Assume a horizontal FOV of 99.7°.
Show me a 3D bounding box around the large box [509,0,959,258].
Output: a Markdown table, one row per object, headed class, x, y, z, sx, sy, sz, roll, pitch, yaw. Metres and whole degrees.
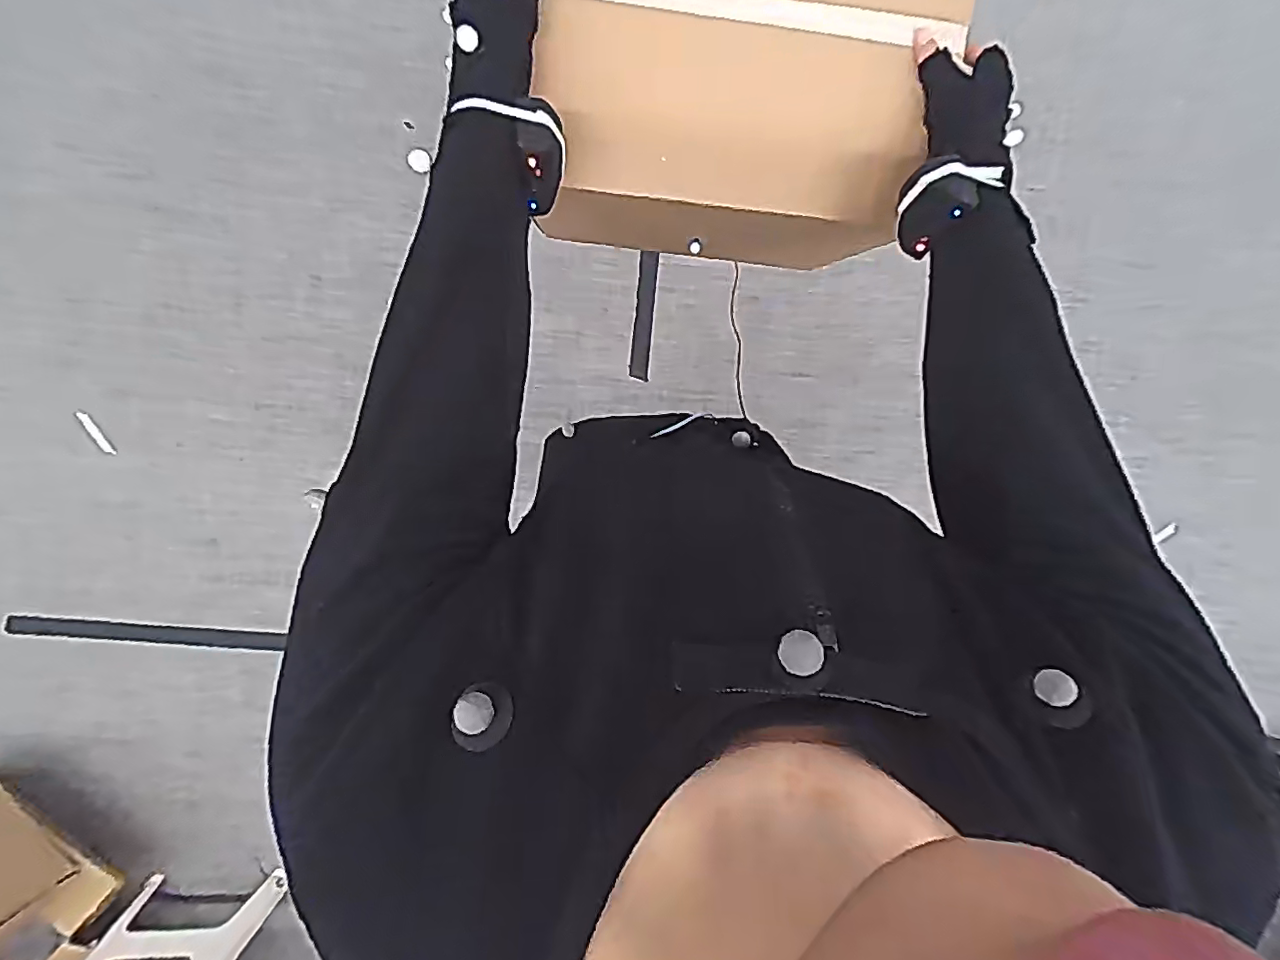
| class | x | y | z | sx | sy | sz | roll | pitch | yaw |
| --- | --- | --- | --- | --- | --- | --- | --- | --- | --- |
| large box | 0.082 | -0.454 | 0.627 | 0.408 | 0.320 | 0.320 | 5 | 104 | -4 |
